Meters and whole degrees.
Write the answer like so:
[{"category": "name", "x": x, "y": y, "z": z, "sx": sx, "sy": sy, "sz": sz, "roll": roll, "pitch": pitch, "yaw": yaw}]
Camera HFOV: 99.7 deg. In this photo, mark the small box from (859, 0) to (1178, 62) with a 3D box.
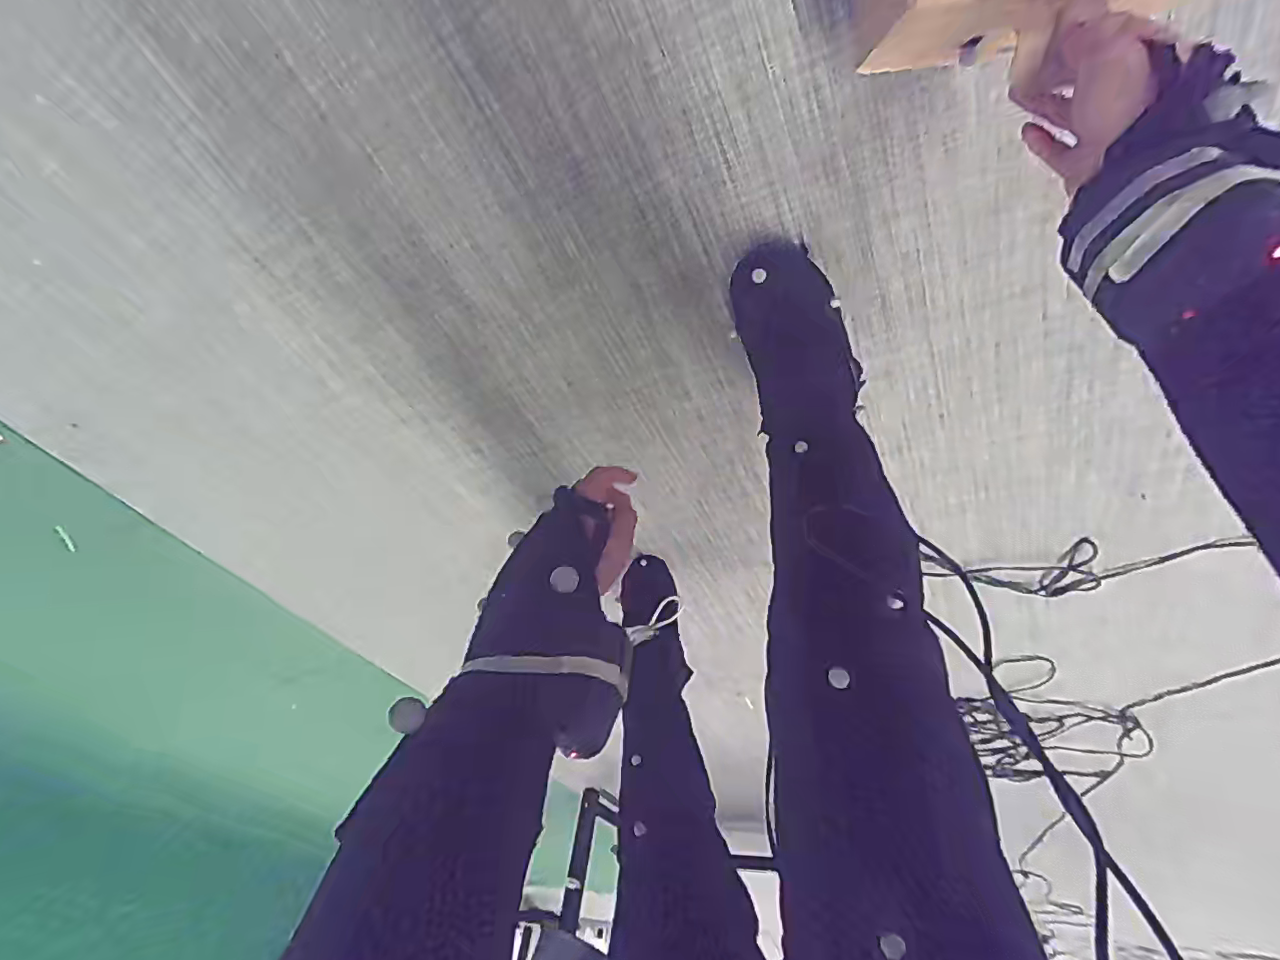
[{"category": "small box", "x": 0.236, "y": -0.371, "z": 0.311, "sx": 0.168, "sy": 0.176, "sz": 0.179, "roll": 1, "pitch": 119, "yaw": 8}]
